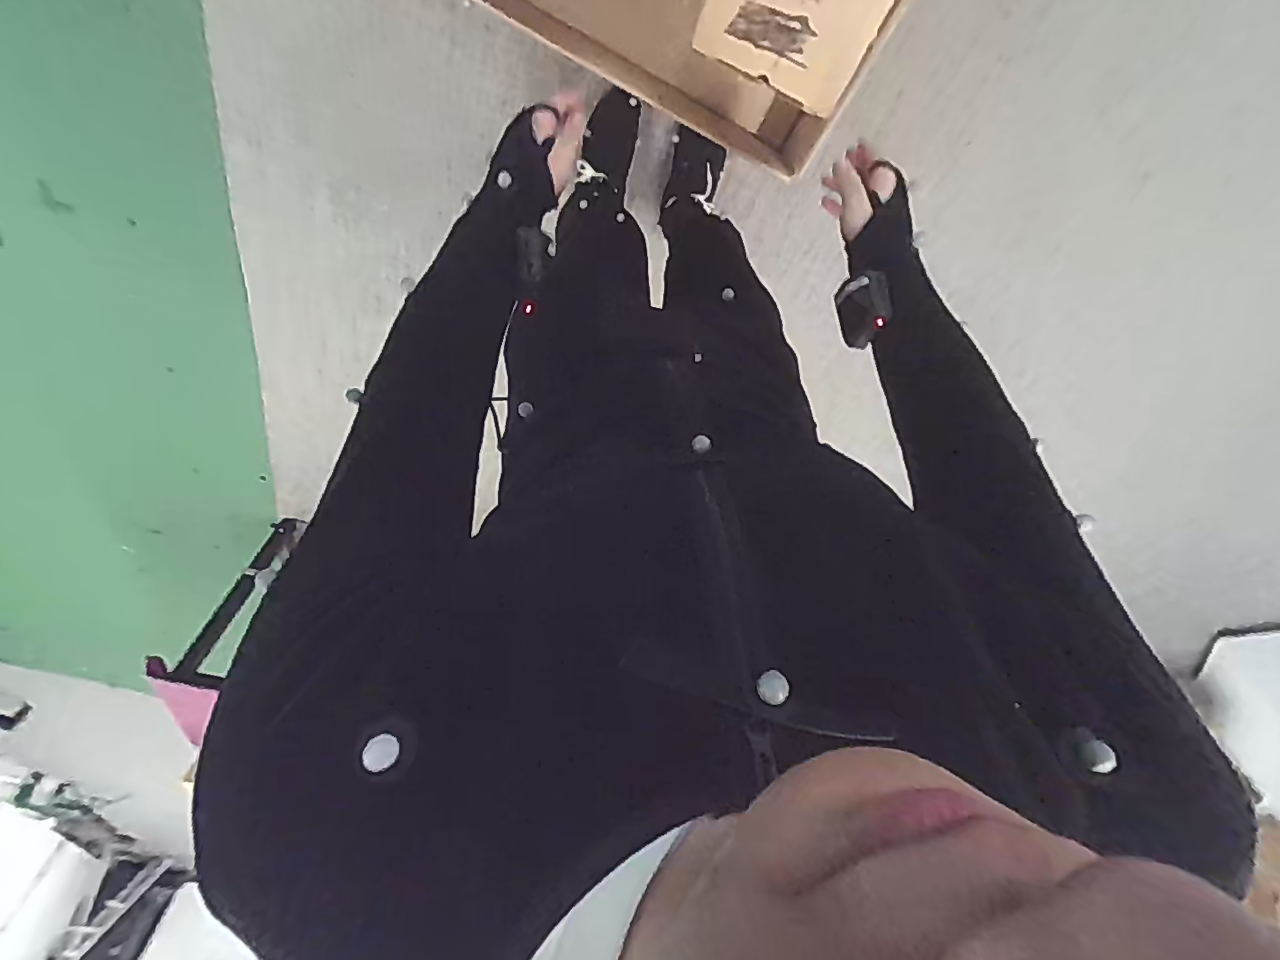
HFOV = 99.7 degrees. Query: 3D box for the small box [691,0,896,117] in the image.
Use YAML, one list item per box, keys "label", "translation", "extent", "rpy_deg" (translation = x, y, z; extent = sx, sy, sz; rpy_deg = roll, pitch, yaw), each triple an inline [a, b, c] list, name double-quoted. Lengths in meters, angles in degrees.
- label: "small box"
  translation: [0.163, -0.518, 0.554]
  extent: [0.168, 0.176, 0.179]
  rpy_deg: [19, 131, -13]
